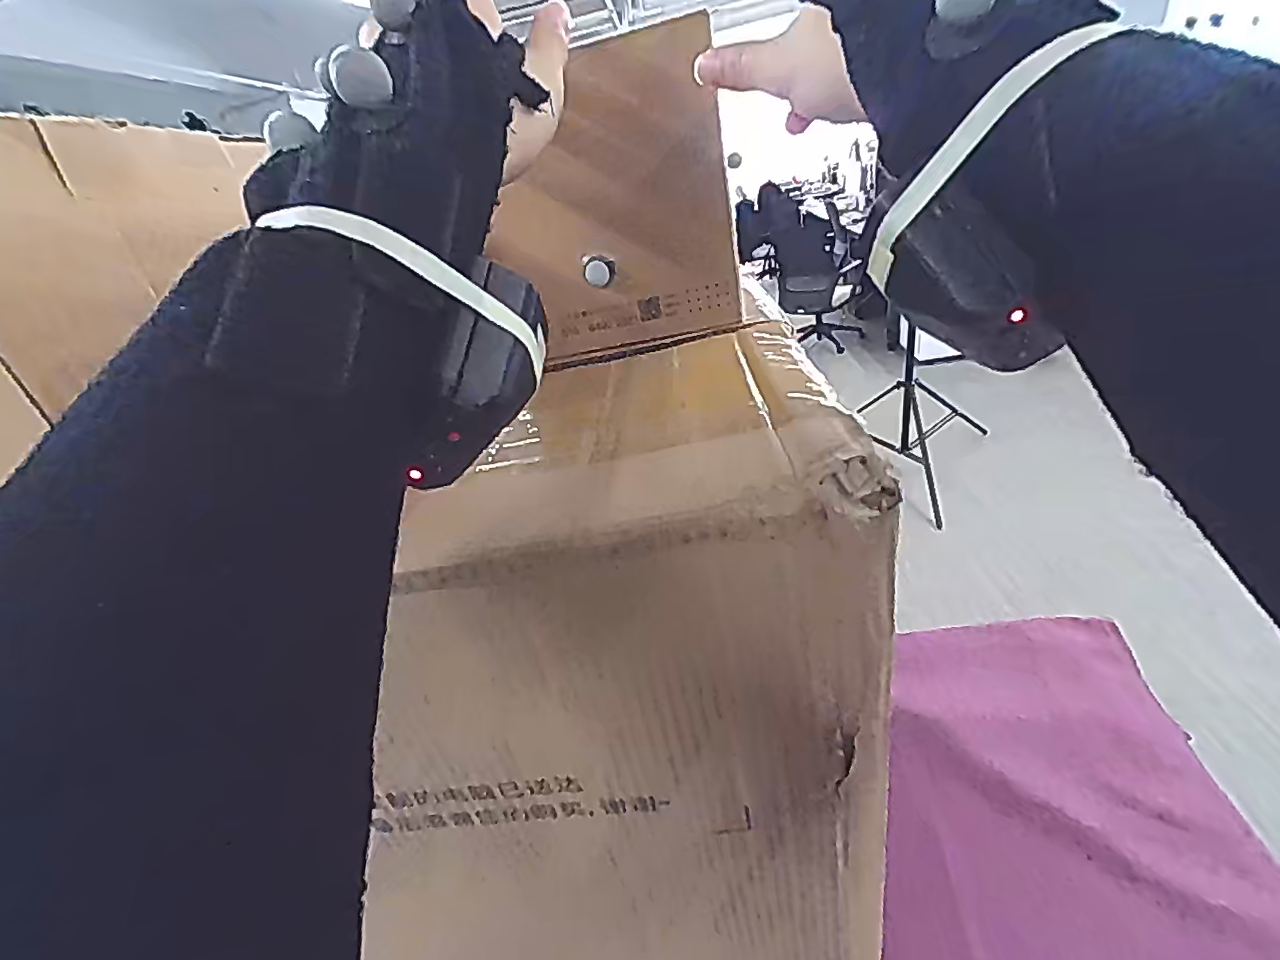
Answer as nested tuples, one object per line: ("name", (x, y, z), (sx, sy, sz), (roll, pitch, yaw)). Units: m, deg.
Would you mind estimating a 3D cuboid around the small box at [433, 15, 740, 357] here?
("small box", (-0.020, -0.206, 0.409), (0.168, 0.176, 0.179), (-9, 29, 10))
